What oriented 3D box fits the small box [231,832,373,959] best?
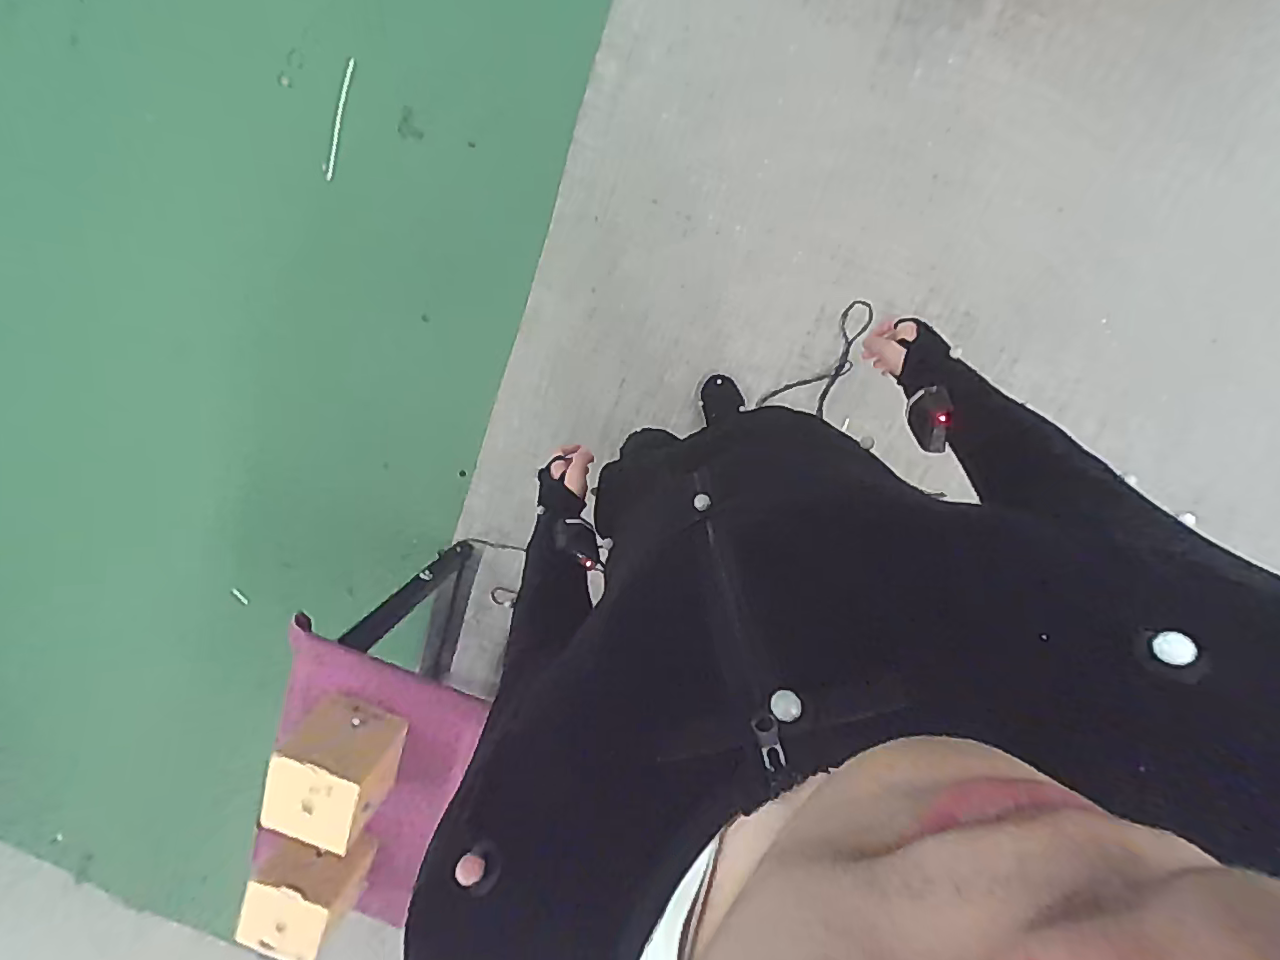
[{"bbox_3d":[-0.682,0.836,1.110,0.168,0.176,0.179,22,103,1],"label":"small box"}]

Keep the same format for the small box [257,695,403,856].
[{"bbox_3d":[-0.578,0.550,1.025,0.168,0.176,0.179,20,106,0],"label":"small box"}]
